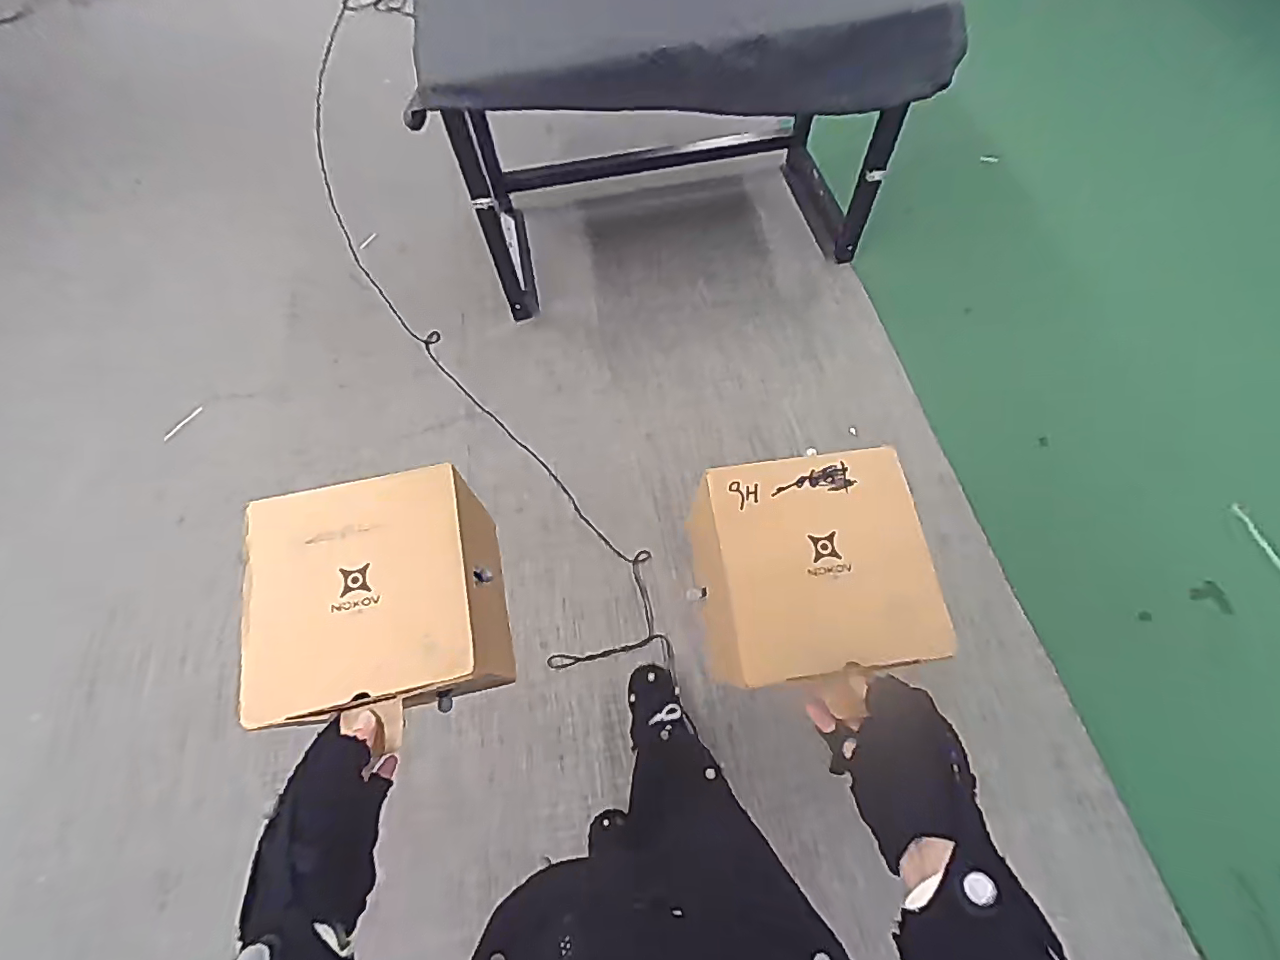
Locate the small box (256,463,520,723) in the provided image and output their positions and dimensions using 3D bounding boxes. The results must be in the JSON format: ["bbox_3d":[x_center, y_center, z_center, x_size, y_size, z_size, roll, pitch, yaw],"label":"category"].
[{"bbox_3d":[-0.215,0.108,0.498,0.168,0.176,0.179,-12,68,-7],"label":"small box"}]

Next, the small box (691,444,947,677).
[{"bbox_3d":[0.147,0.082,0.516,0.168,0.176,0.179,-6,72,-4],"label":"small box"}]
